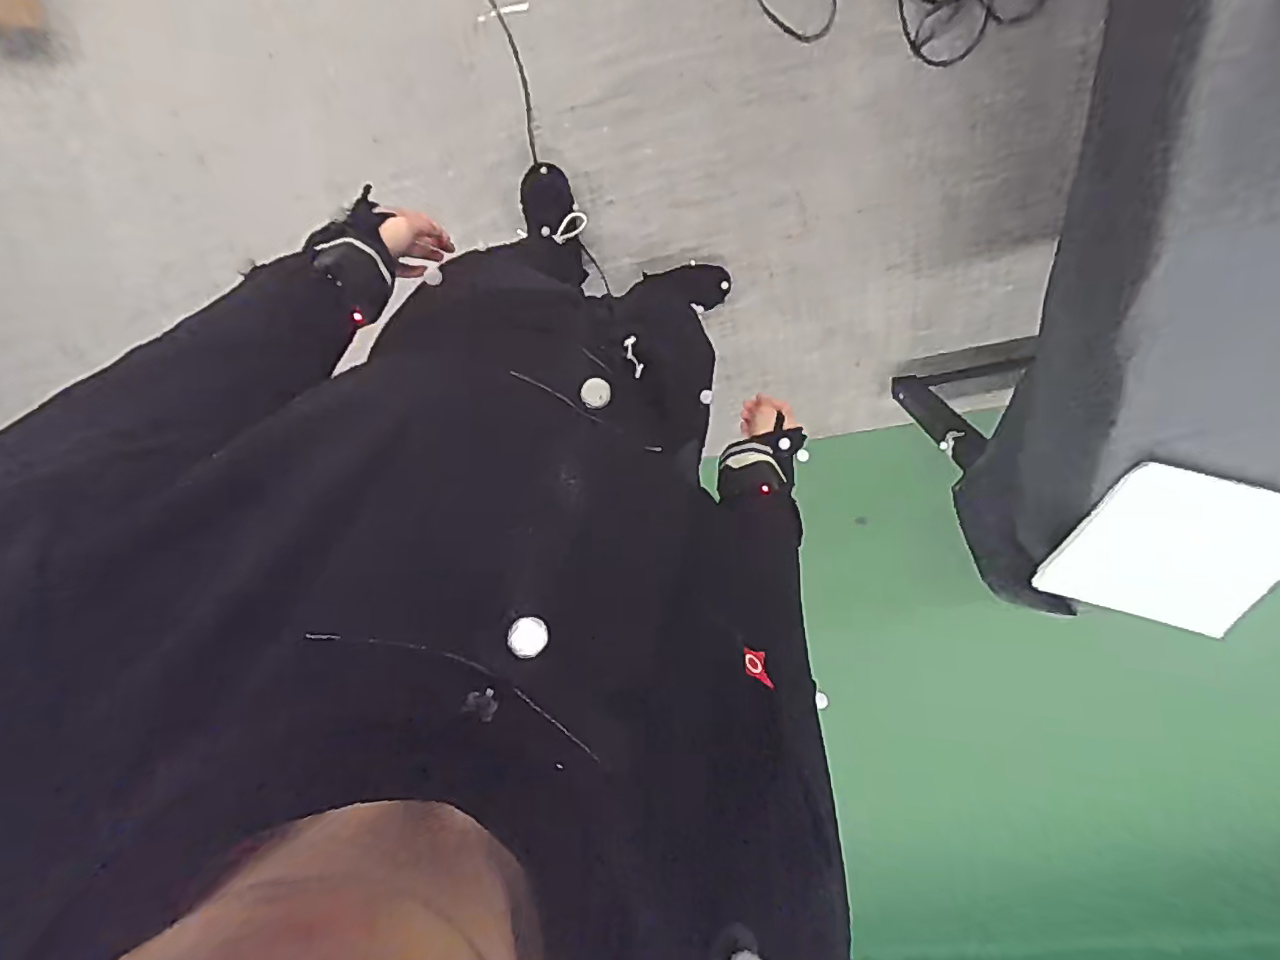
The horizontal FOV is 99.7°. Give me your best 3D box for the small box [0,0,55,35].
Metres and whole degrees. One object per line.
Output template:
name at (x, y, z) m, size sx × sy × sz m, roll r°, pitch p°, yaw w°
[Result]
small box at (-1.198, -0.899, 0.928) m, size 0.168 × 0.176 × 0.179 m, roll 5°, pitch 122°, yaw 1°
